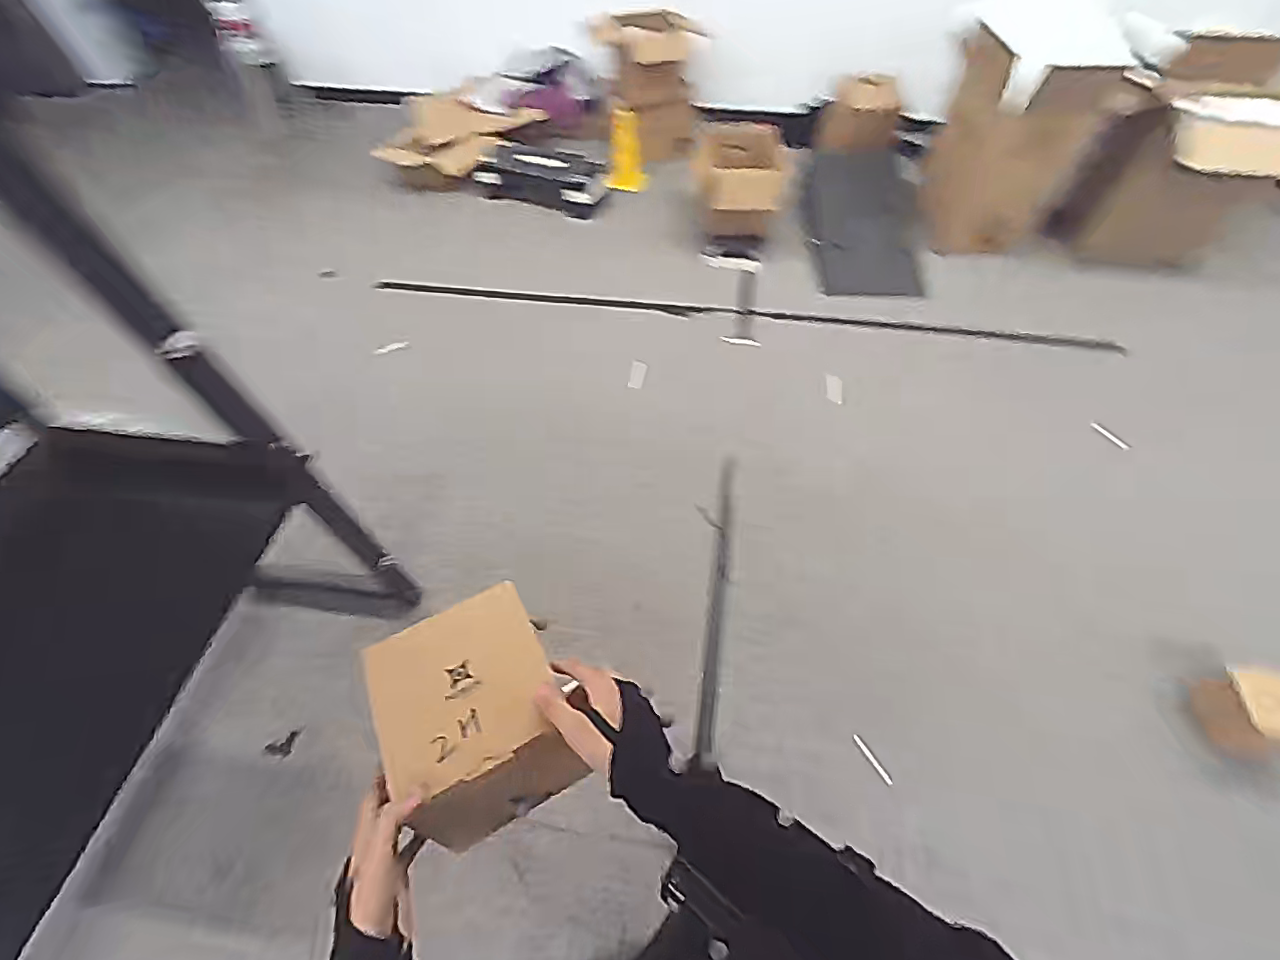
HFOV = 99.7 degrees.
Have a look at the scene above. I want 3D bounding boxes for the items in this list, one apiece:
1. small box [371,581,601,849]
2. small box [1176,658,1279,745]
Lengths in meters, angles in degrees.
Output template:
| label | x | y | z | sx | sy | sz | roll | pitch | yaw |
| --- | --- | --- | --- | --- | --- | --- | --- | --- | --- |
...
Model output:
| label | x | y | z | sx | sy | sz | roll | pitch | yaw |
| --- | --- | --- | --- | --- | --- | --- | --- | --- | --- |
| small box | -0.155 | 0.246 | 0.569 | 0.168 | 0.176 | 0.179 | -24 | 50 | -16 |
| small box | 1.591 | 0.585 | 1.418 | 0.179 | 0.176 | 0.168 | 7 | 54 | 6 |
